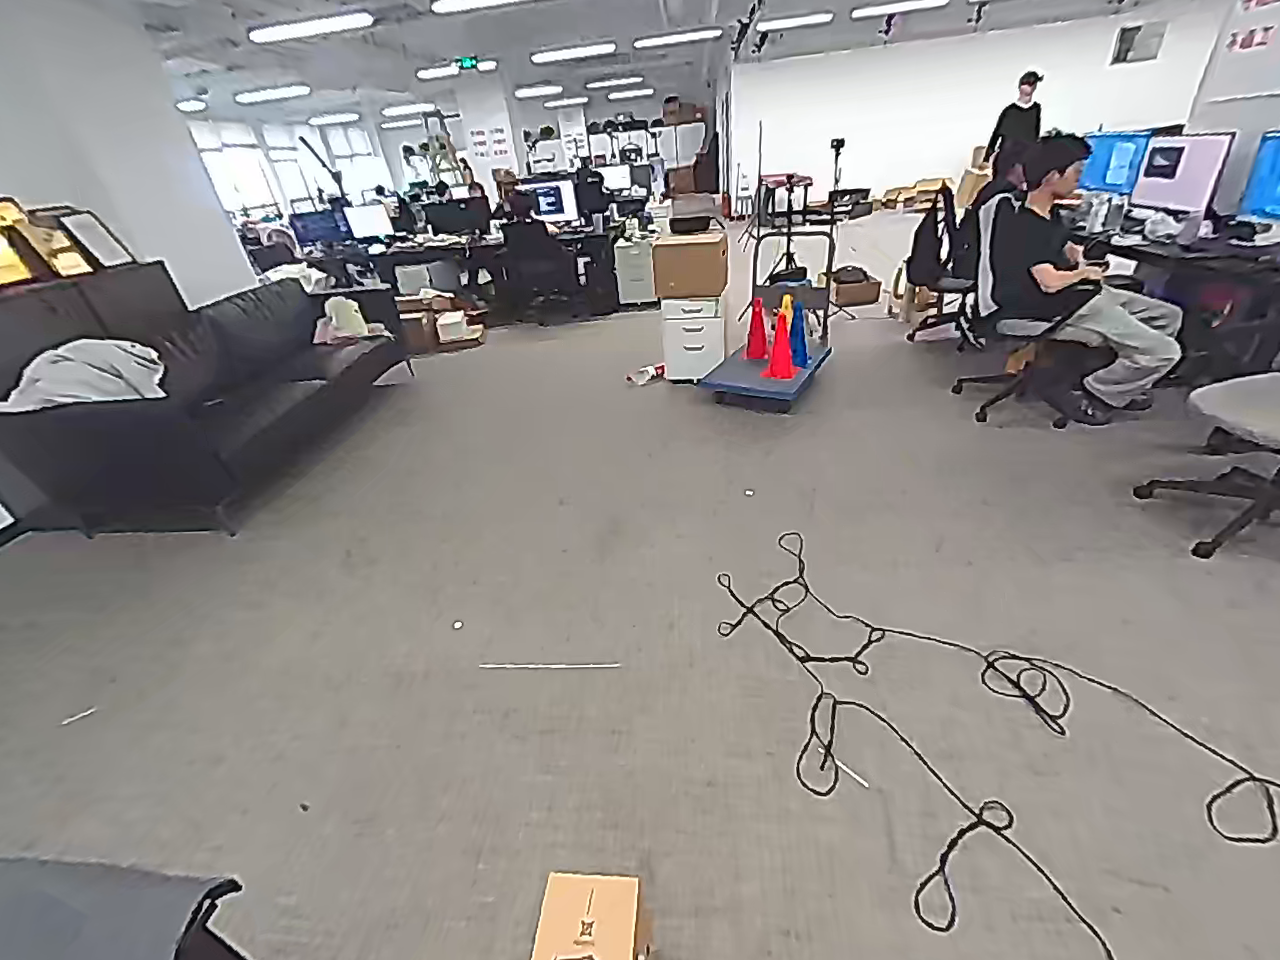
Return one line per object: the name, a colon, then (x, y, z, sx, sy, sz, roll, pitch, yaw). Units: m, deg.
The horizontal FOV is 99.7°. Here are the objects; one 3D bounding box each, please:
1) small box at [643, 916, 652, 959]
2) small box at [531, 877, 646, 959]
small box: (-0.069, 0.948, 1.011, 0.168, 0.176, 0.179, -2, 30, 9)
small box: (-0.083, 0.815, 0.916, 0.168, 0.176, 0.179, -2, 30, 7)
